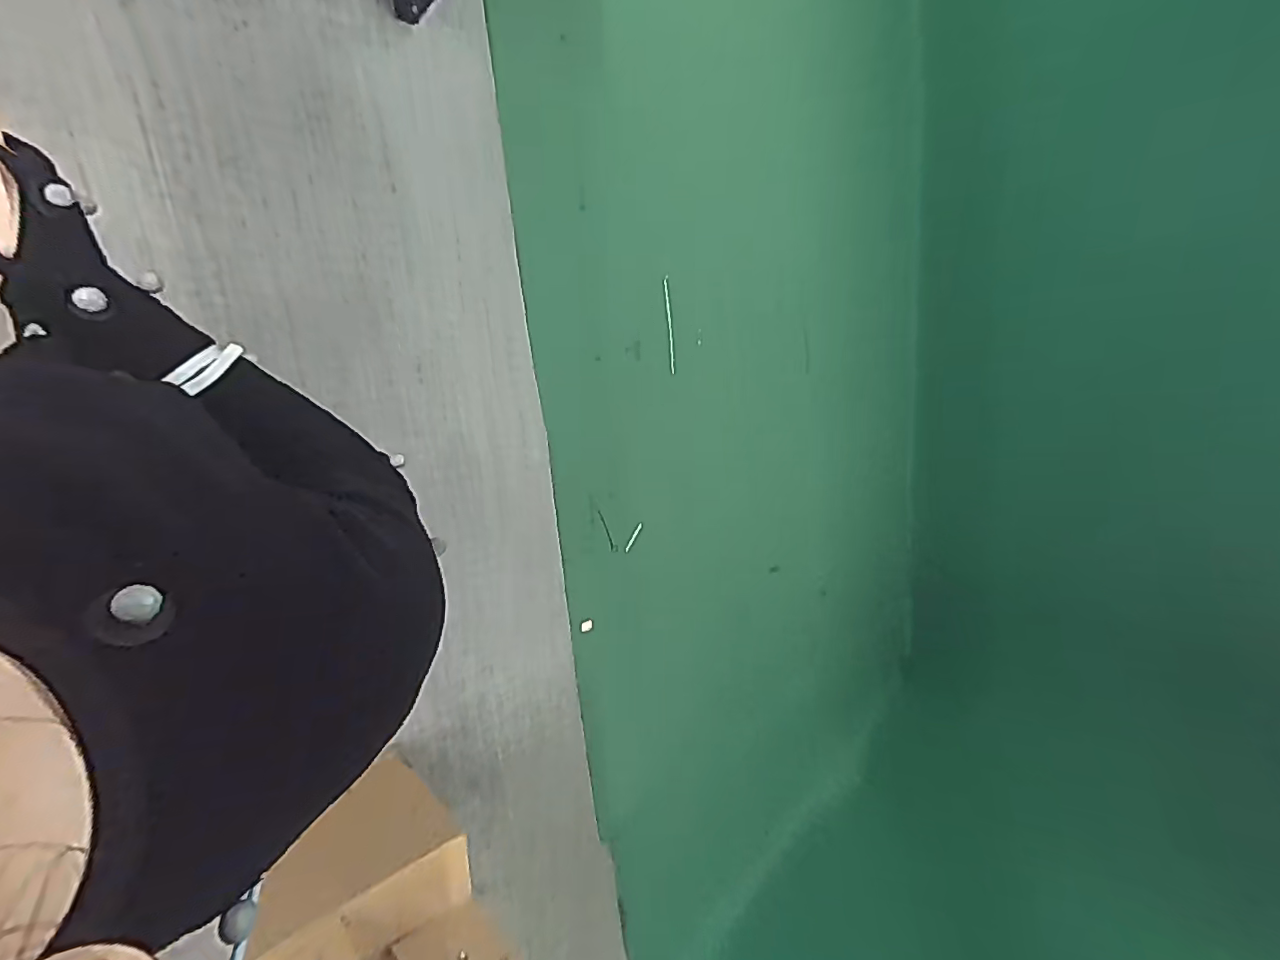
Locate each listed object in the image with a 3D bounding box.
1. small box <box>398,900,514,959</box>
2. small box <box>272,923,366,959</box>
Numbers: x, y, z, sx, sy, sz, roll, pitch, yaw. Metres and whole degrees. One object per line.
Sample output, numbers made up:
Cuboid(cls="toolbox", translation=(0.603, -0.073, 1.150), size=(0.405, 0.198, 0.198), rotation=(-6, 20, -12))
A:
Cuboid(cls="small box", translation=(-0.376, 1.018, 1.100), size=(0.179, 0.176, 0.168), rotation=(-3, 97, -42))
Cuboid(cls="small box", translation=(-0.555, 0.913, 0.920), size=(0.168, 0.176, 0.179), rotation=(-14, 104, -41))
